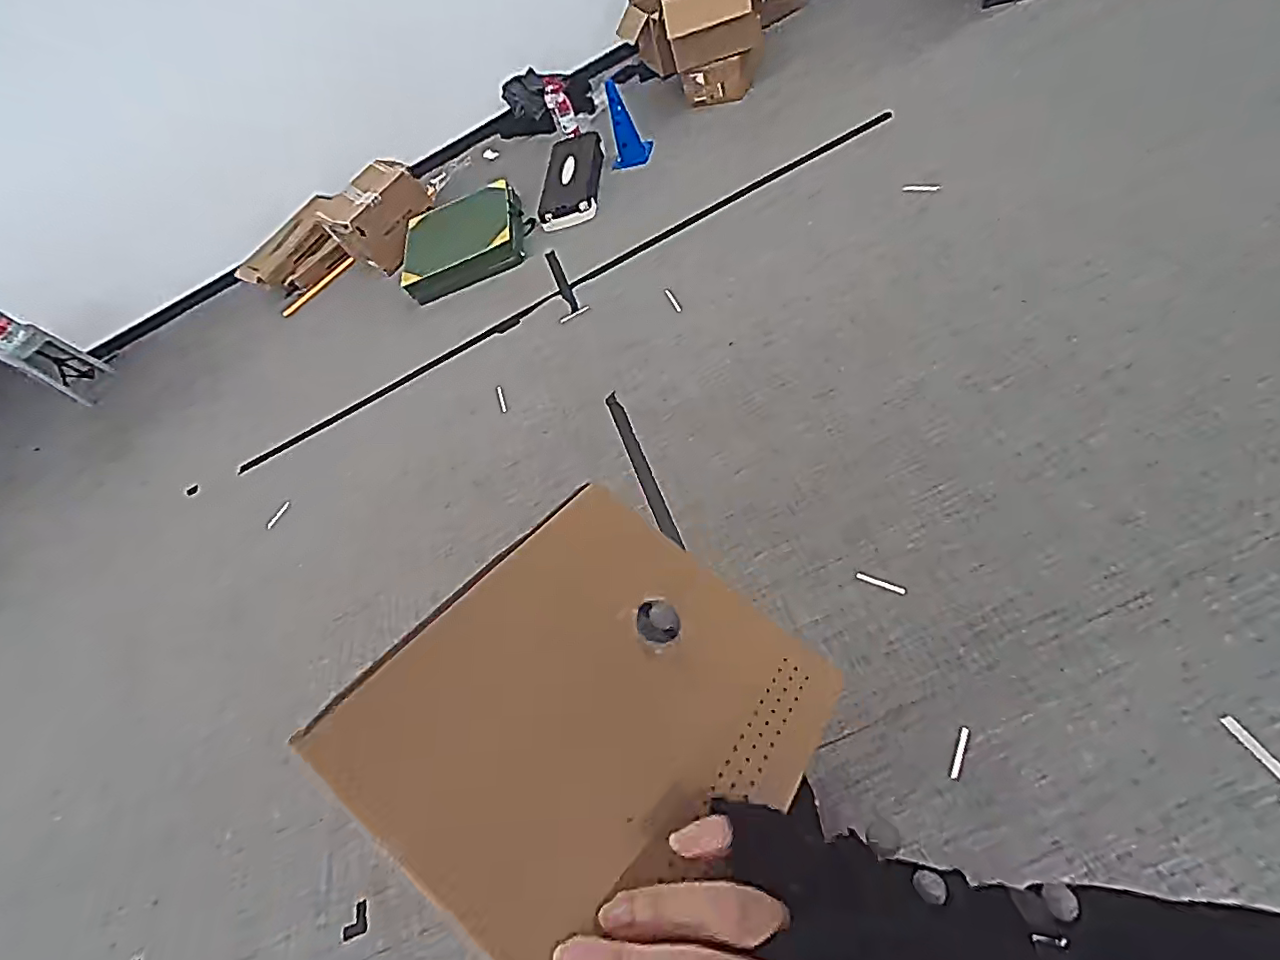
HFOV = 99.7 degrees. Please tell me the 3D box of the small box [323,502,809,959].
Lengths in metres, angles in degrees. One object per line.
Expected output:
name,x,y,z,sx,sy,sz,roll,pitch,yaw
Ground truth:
small box,-0.031,0.153,0.308,0.176,0.168,0.179,36,53,11
